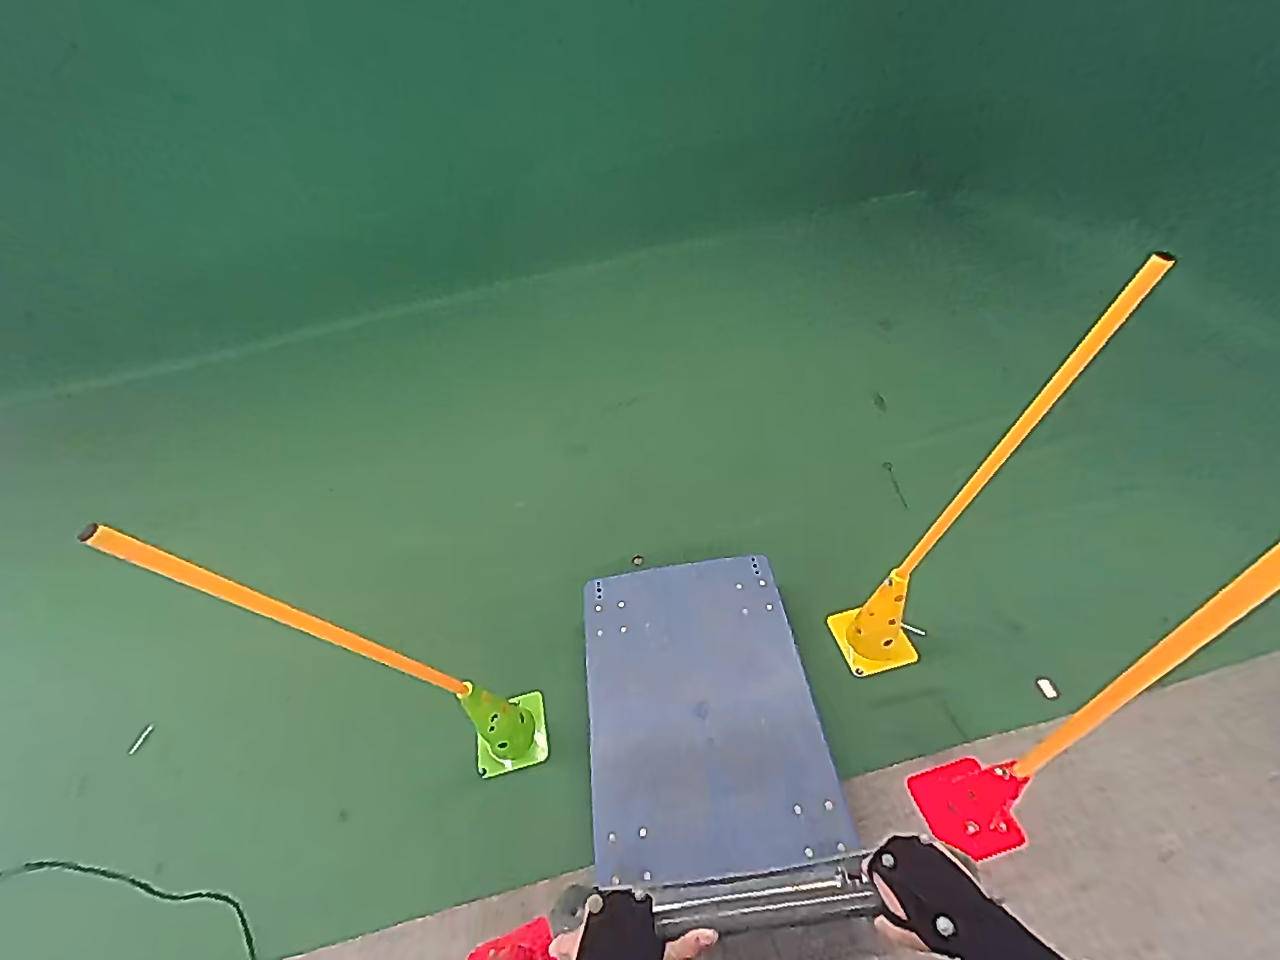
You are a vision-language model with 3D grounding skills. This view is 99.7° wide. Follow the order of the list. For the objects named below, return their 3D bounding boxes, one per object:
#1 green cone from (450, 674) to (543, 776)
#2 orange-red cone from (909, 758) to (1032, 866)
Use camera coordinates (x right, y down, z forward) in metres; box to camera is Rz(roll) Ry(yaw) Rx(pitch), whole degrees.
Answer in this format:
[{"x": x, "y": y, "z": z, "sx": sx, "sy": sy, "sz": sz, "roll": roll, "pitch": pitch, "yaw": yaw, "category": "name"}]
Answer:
[{"x": -0.404, "y": 0.605, "z": 1.419, "sx": 0.200, "sy": 0.368, "sz": 0.202, "roll": -15, "pitch": 47, "yaw": -4, "category": "green cone"}, {"x": 0.758, "y": 0.675, "z": 1.172, "sx": 0.198, "sy": 0.360, "sz": 0.199, "roll": -14, "pitch": 46, "yaw": -4, "category": "orange-red cone"}]
